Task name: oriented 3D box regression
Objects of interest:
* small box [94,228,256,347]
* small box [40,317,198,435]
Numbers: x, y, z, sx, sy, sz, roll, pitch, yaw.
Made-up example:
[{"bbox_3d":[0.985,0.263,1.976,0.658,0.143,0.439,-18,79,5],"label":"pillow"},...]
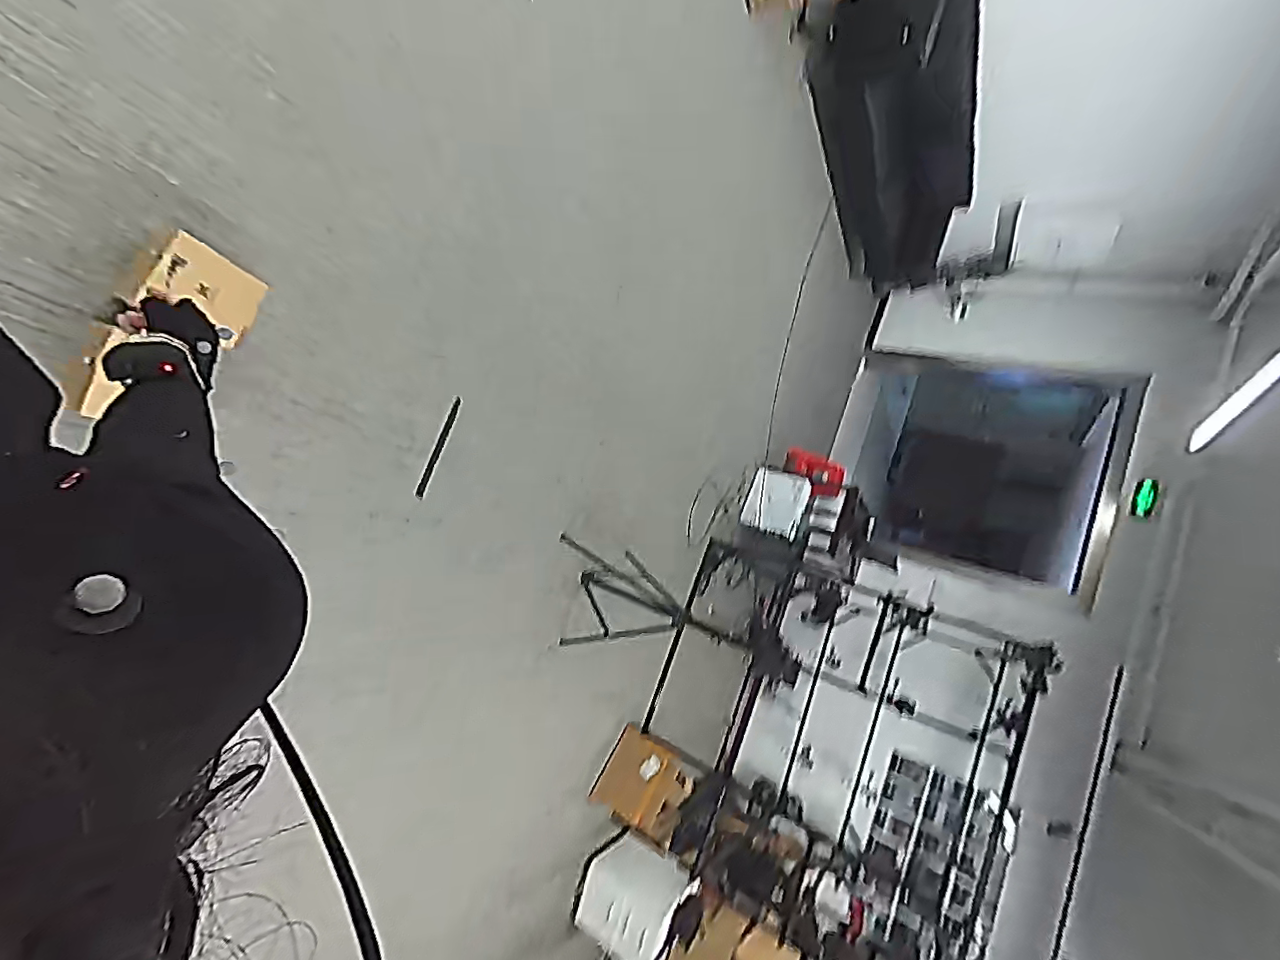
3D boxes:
[{"bbox_3d":[-0.970,-0.405,1.132,0.179,0.176,0.168,43,67,-57],"label":"small box"},{"bbox_3d":[-1.052,-0.211,1.091,0.168,0.176,0.179,27,82,-58],"label":"small box"}]
